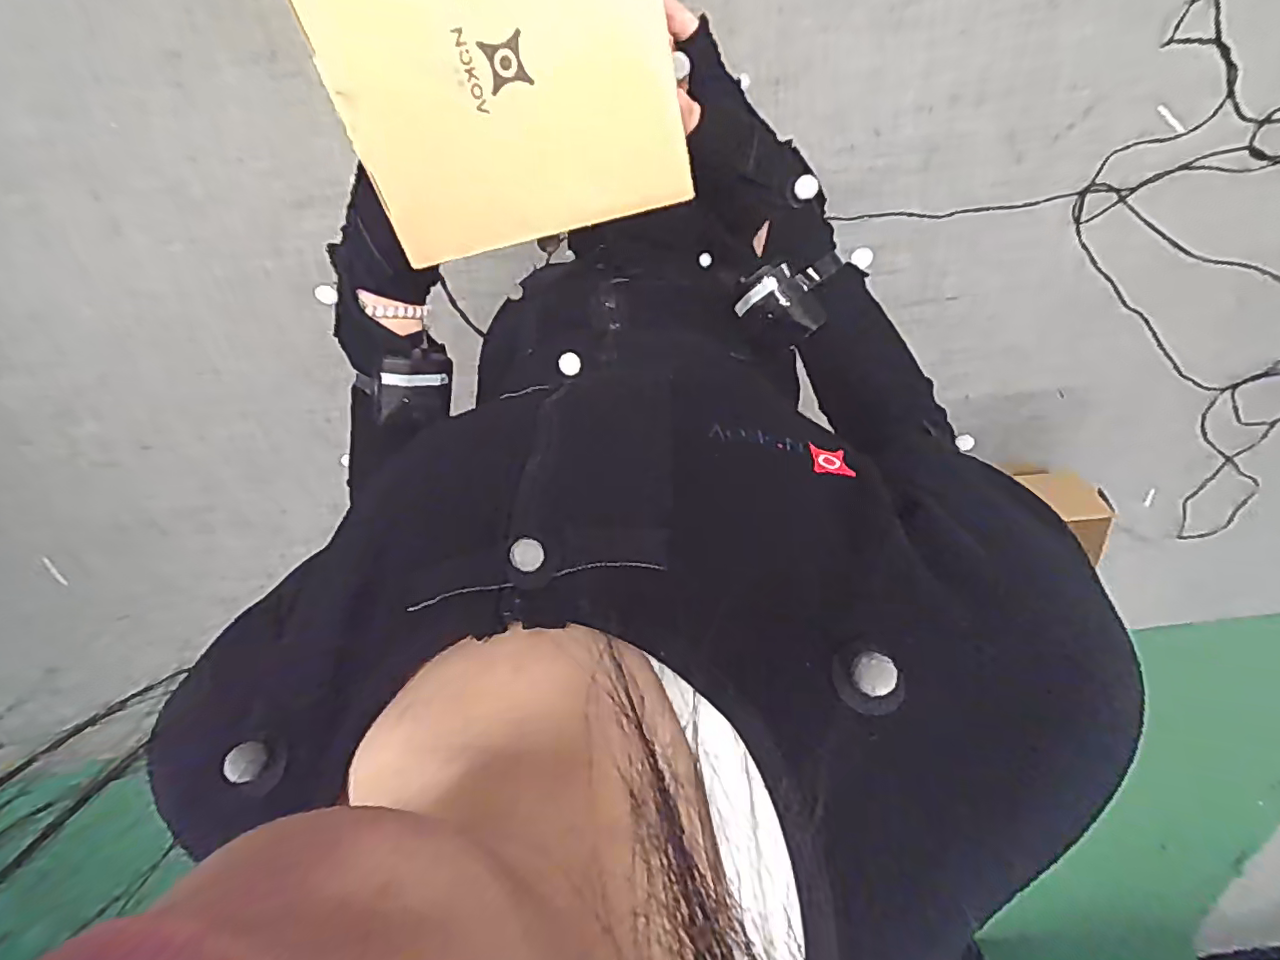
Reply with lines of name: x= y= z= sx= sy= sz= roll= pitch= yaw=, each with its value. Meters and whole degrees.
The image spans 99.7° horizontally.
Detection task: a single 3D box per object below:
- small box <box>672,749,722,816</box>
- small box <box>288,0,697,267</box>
small box: x=0.230 y=1.232 z=2.209 sx=0.179 sy=0.176 sz=0.168 roll=-11 pitch=119 yaw=2
small box: x=-0.072 y=-0.254 z=0.330 sx=0.179 sy=0.176 sz=0.168 roll=-11 pitch=126 yaw=7
